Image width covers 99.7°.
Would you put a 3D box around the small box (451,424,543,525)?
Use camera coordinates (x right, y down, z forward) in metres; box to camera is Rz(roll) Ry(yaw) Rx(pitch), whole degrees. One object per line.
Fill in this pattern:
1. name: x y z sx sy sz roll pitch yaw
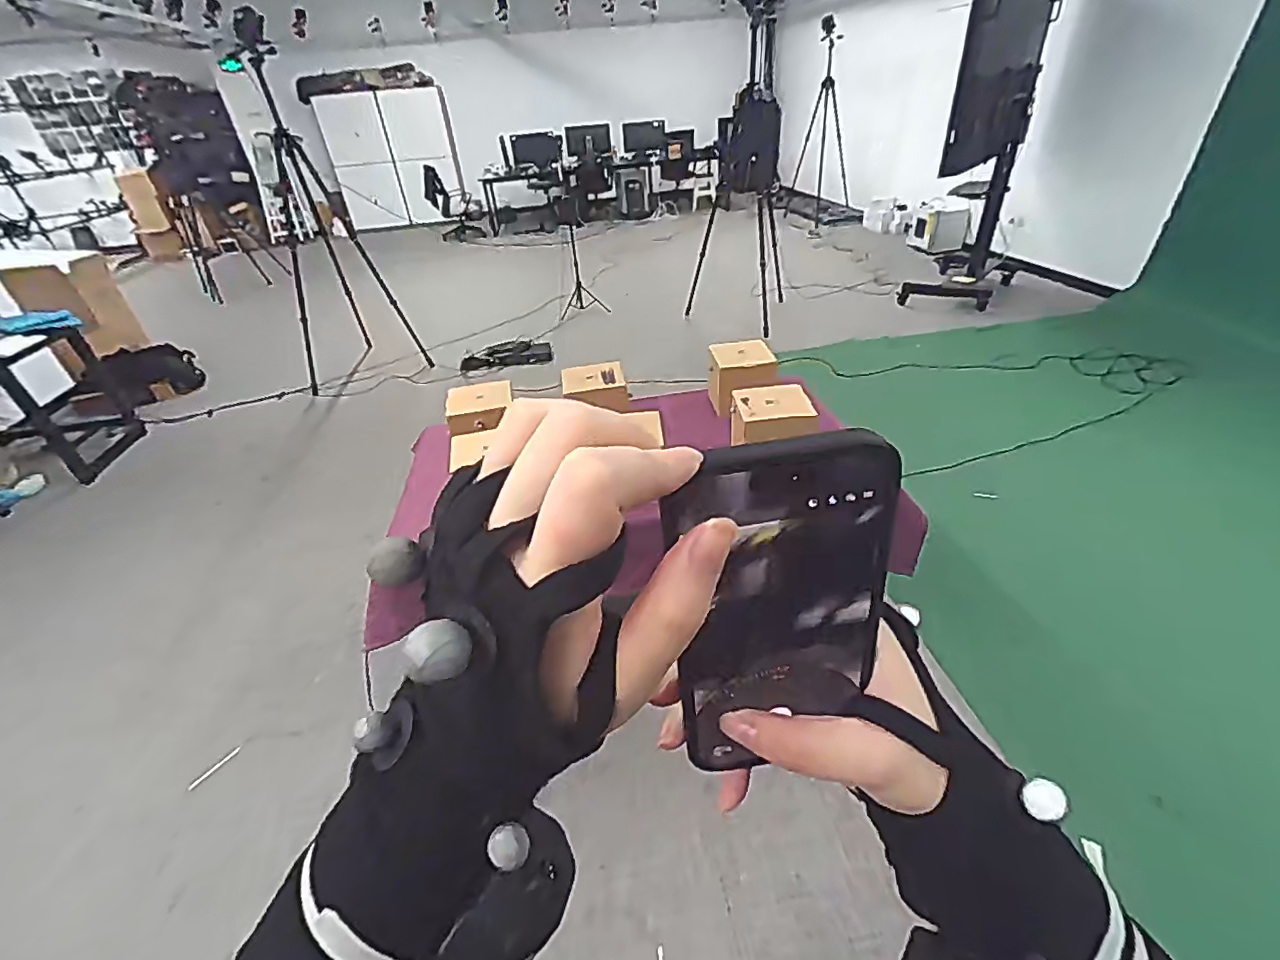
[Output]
1. small box: -0.340 -0.012 1.295 0.179 0.176 0.168 -11 35 -10

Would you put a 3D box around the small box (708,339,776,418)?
1. small box: 0.299 -0.304 1.620 0.168 0.176 0.179 -7 36 -1

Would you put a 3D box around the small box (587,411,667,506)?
1. small box: -0.029 -0.051 1.308 0.179 0.176 0.168 -4 35 0

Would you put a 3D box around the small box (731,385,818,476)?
1. small box: 0.330 -0.124 1.365 0.179 0.176 0.168 -4 35 1
